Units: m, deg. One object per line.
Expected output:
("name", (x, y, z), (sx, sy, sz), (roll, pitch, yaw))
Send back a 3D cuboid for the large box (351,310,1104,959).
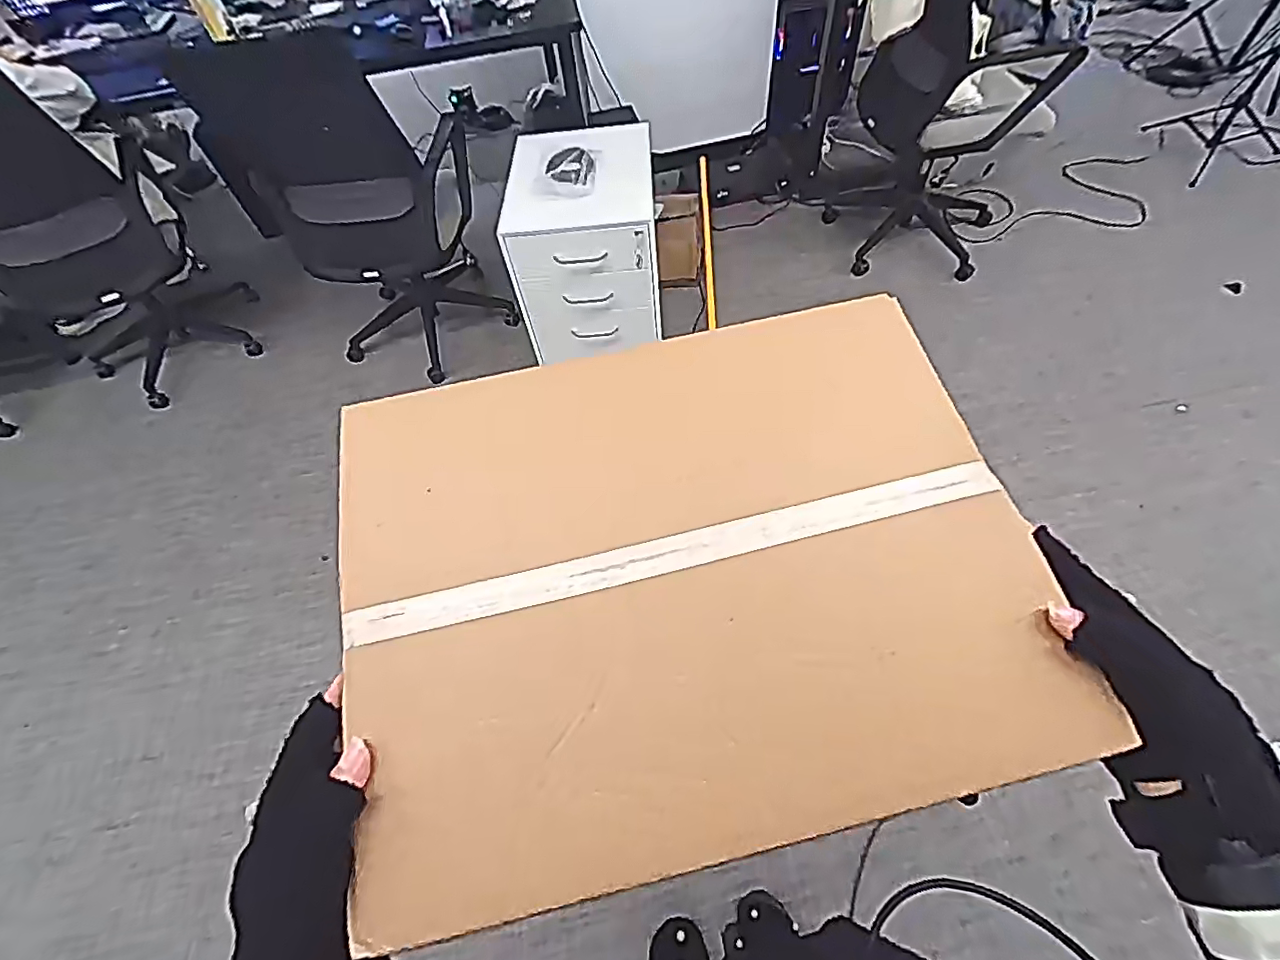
("large box", (0.032, 0.111, 0.471), (0.408, 0.320, 0.320), (-13, 66, -3))
